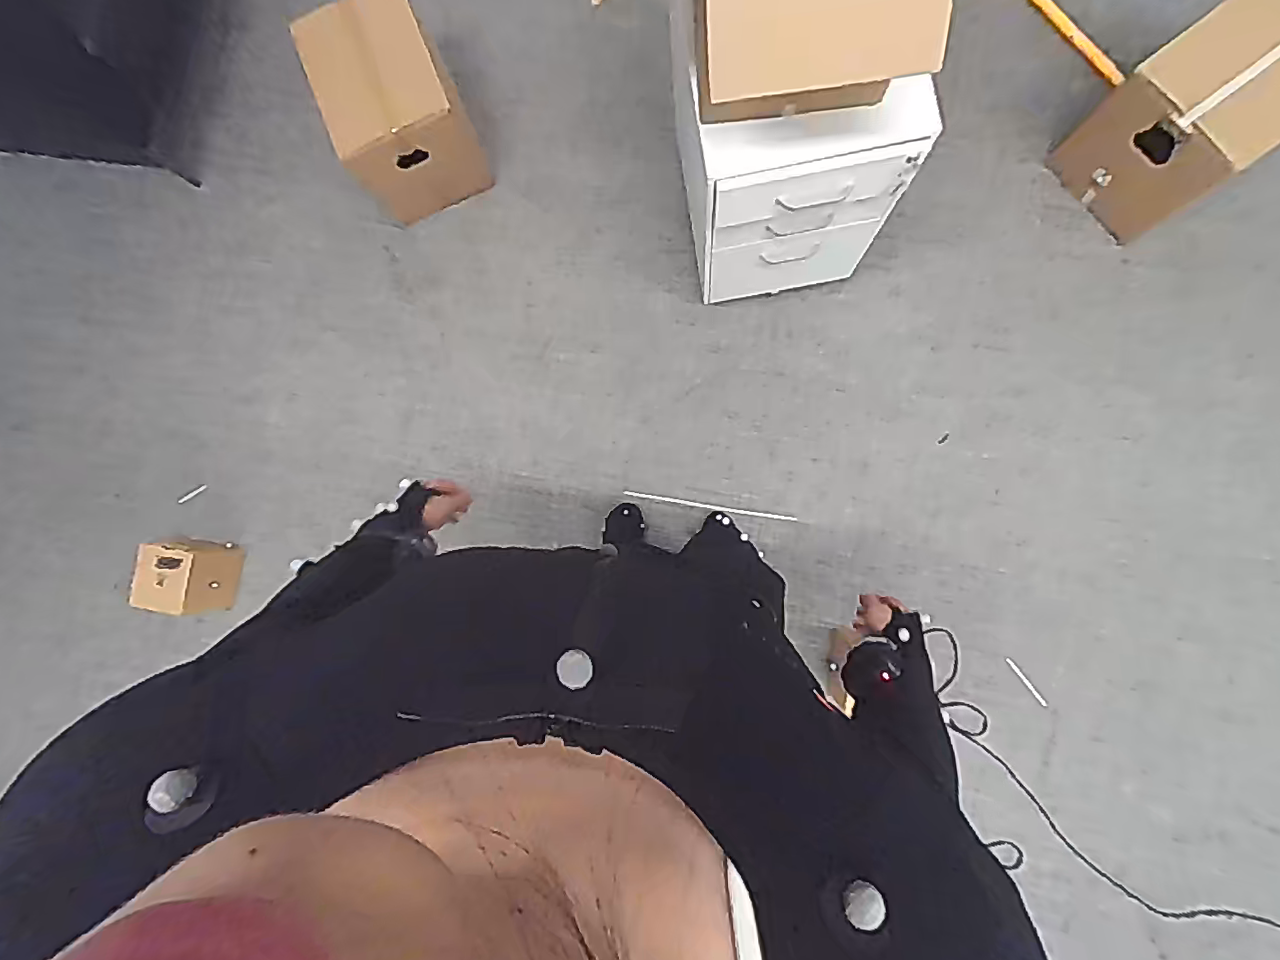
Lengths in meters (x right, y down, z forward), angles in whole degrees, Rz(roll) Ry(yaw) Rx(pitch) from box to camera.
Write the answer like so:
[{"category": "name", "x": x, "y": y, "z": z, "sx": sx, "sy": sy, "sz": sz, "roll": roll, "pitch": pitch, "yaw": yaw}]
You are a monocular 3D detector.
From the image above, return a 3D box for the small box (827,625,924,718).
[{"category": "small box", "x": 0.572, "y": 0.463, "z": 1.336, "sx": 0.179, "sy": 0.176, "sz": 0.168, "roll": 6, "pitch": 87, "yaw": 7}]

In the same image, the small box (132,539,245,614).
[{"category": "small box", "x": -1.282, "y": 0.268, "z": 1.549, "sx": 0.168, "sy": 0.176, "sz": 0.179, "roll": 10, "pitch": 87, "yaw": 6}]
